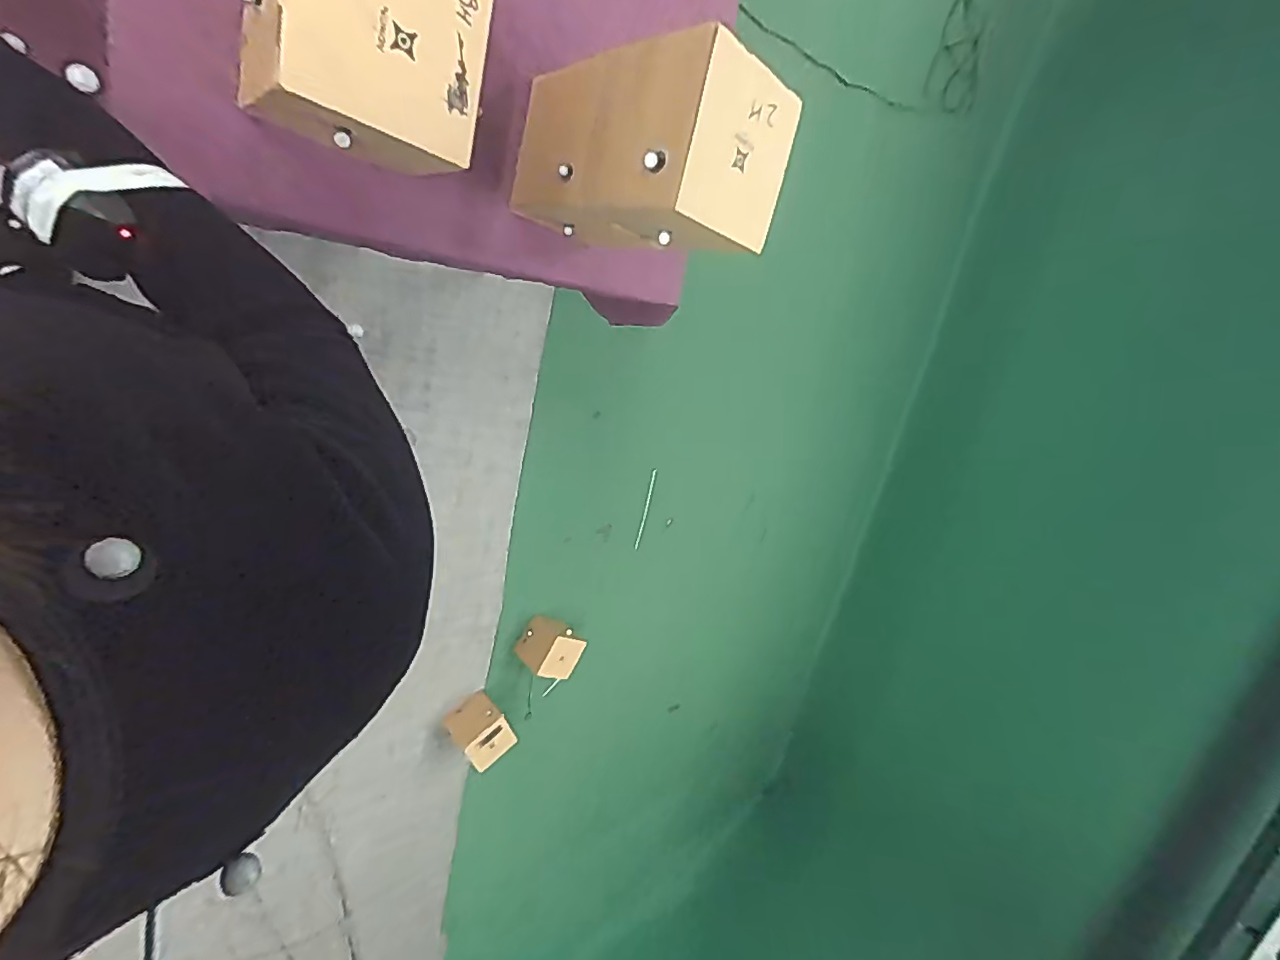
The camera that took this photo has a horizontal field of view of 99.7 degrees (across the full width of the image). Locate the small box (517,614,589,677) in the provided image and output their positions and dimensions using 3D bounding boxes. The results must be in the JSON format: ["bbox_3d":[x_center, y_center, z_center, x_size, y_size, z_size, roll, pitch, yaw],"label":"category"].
[{"bbox_3d":[-0.338,0.640,2.097,0.179,0.176,0.168,33,84,-48],"label":"small box"}]

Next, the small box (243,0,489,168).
[{"bbox_3d":[-0.280,-0.433,0.543,0.179,0.176,0.168,0,109,-44],"label":"small box"}]

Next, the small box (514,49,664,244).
[{"bbox_3d":[-0.057,-0.450,0.761,0.168,0.176,0.179,1,109,-45],"label":"small box"}]

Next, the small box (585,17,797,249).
[{"bbox_3d":[0.054,-0.395,0.652,0.168,0.176,0.179,-2,111,-45],"label":"small box"}]
